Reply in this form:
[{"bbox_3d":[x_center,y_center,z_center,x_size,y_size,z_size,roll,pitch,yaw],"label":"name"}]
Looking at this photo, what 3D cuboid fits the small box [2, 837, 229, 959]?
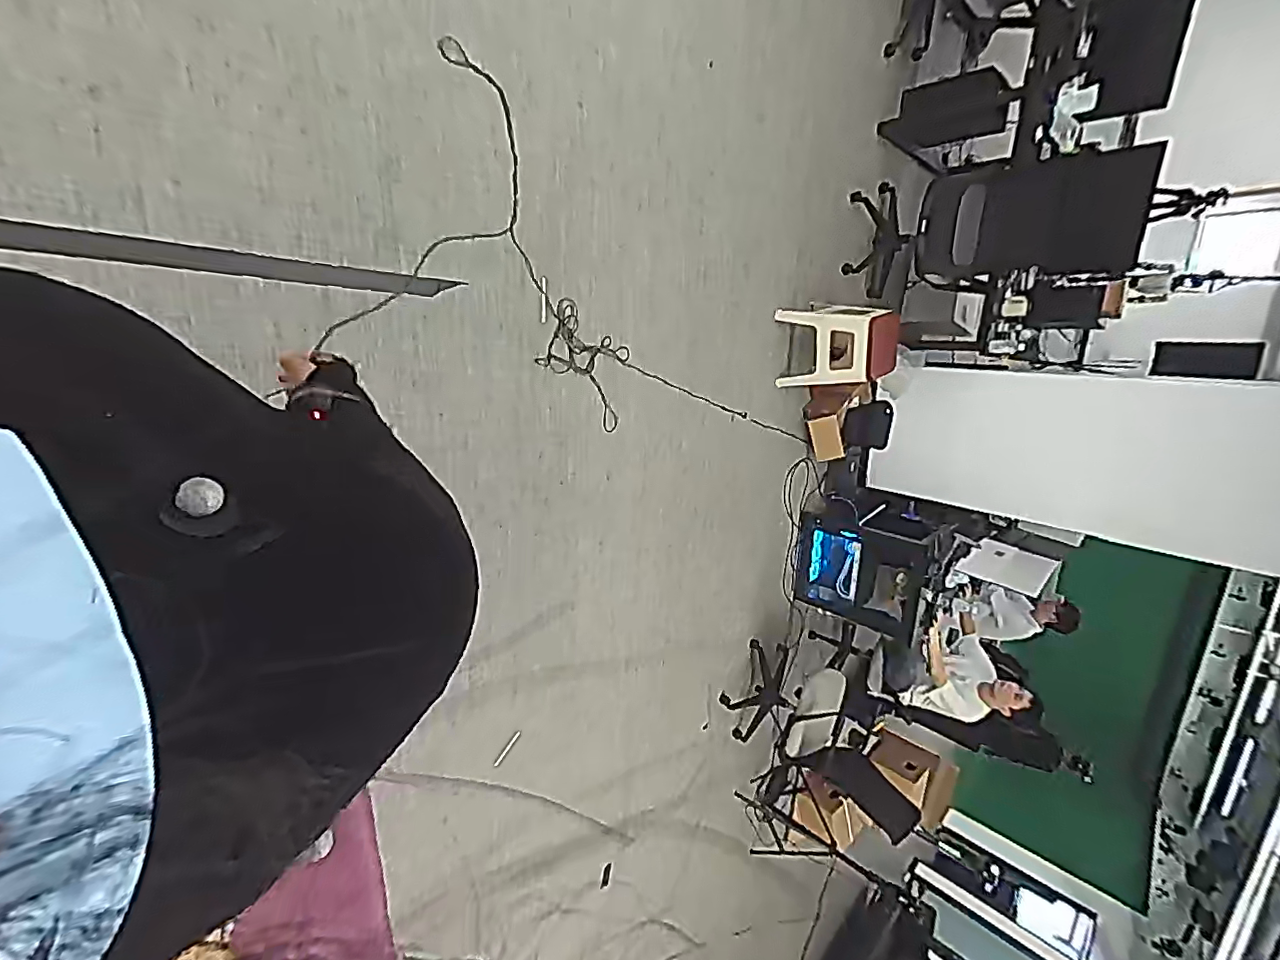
[{"bbox_3d":[-0.575,0.561,0.607,0.168,0.176,0.179,-15,111,-41],"label":"small box"}]
